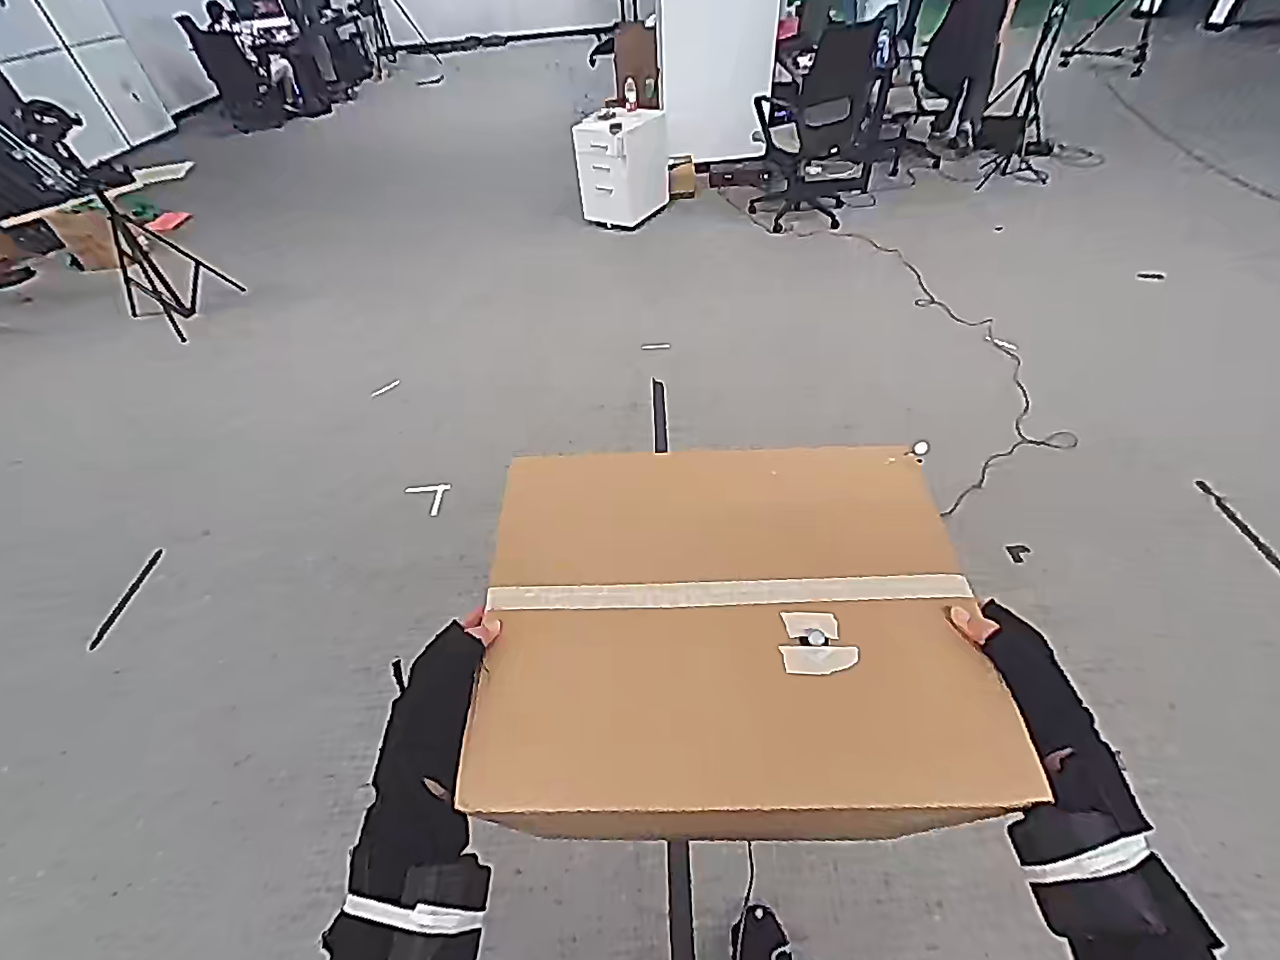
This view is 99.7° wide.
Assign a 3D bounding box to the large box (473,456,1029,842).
[{"bbox_3d":[0.078,0.194,0.587,0.408,0.320,0.320,-2,54,2],"label":"large box"}]
